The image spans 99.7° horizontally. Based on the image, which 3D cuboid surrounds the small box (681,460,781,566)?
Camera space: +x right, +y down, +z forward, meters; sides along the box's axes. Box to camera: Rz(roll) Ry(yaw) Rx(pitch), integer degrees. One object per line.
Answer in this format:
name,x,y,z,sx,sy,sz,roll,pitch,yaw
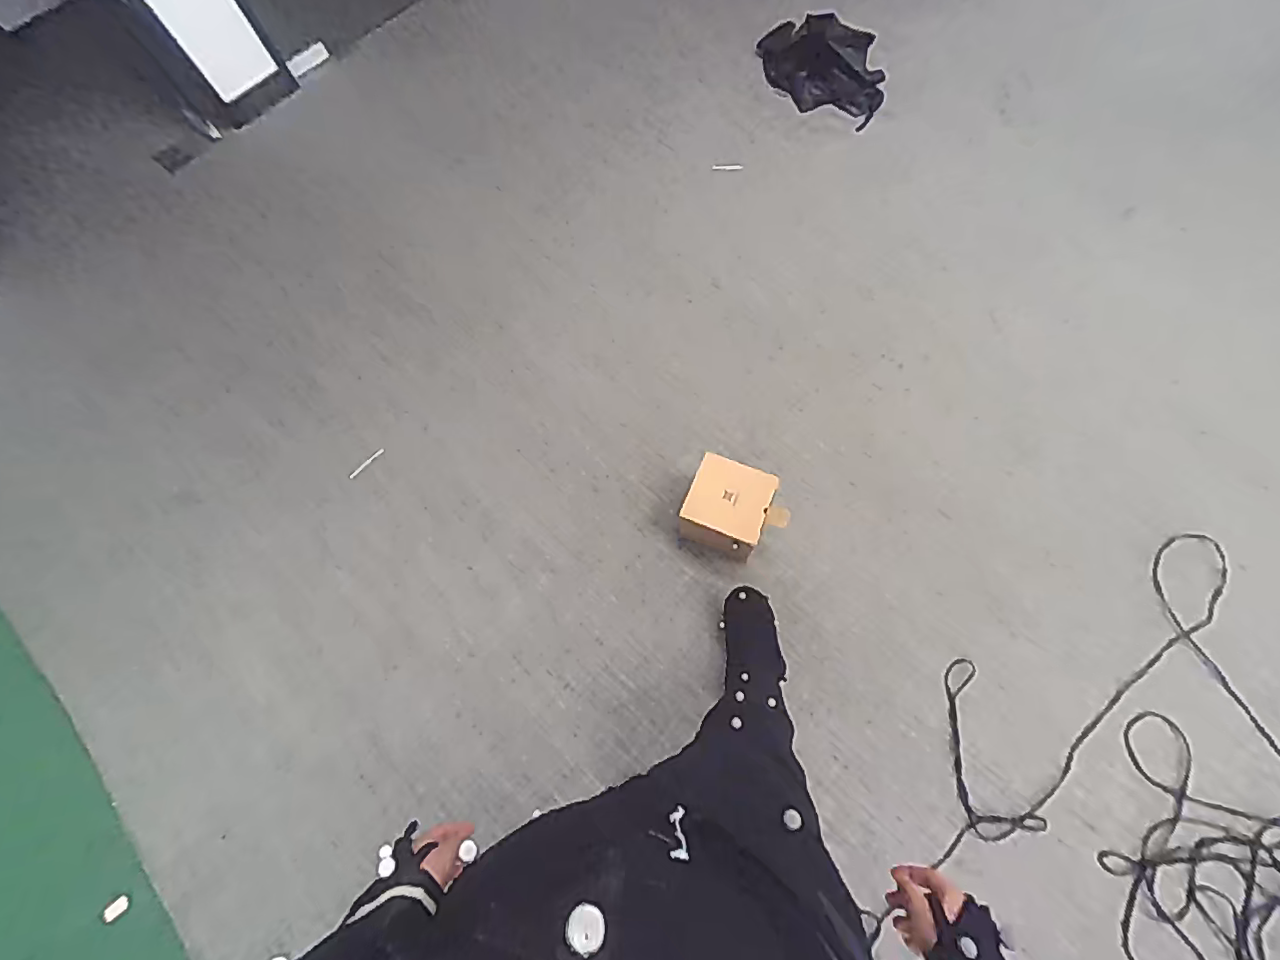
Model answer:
small box,0.201,0.082,1.239,0.179,0.176,0.168,21,71,11
